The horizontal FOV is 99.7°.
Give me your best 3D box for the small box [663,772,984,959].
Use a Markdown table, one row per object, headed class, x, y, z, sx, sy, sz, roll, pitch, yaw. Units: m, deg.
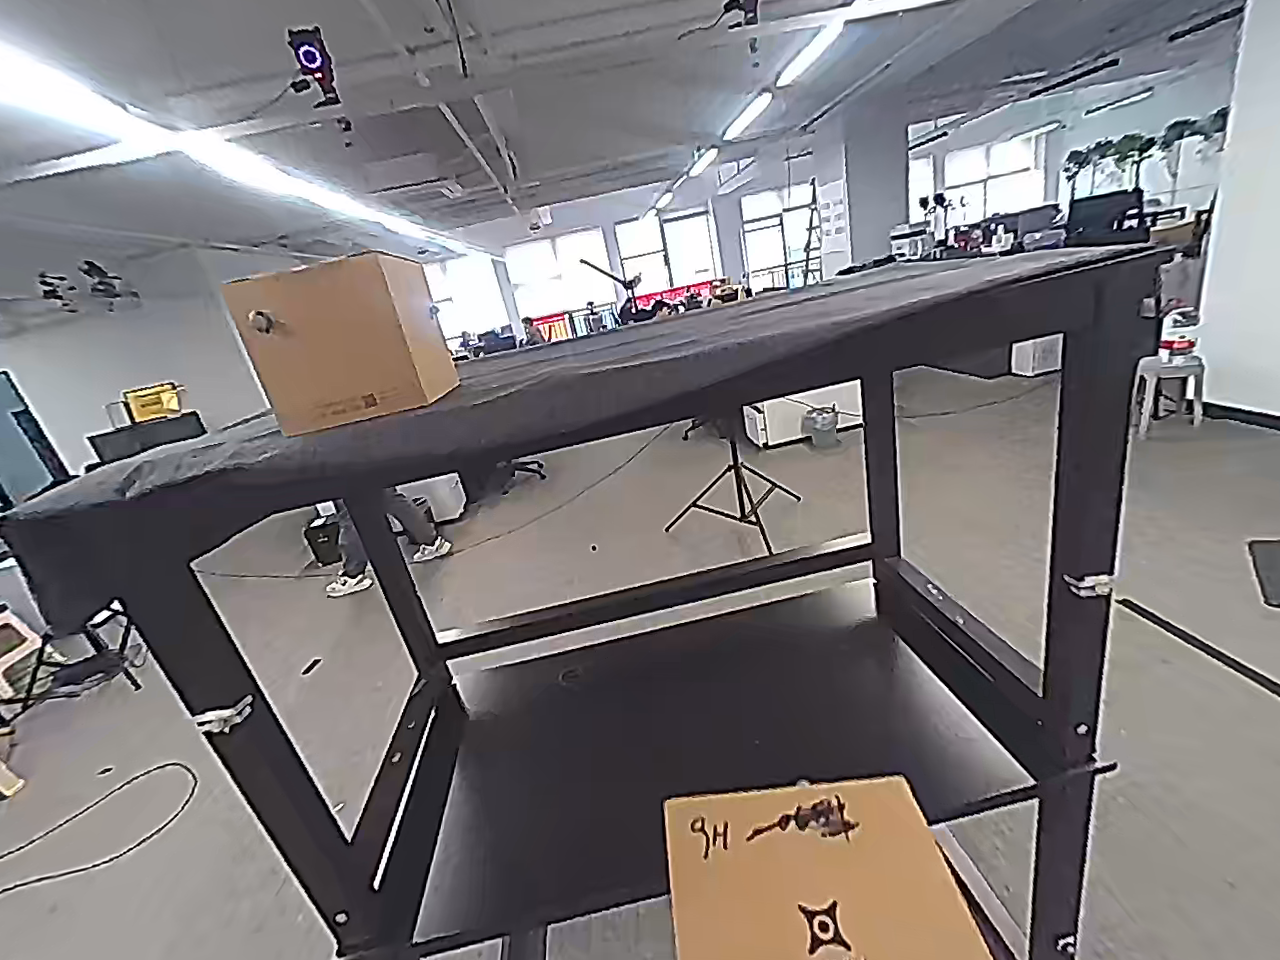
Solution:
| class | x | y | z | sx | sy | sz | roll | pitch | yaw |
| --- | --- | --- | --- | --- | --- | --- | --- | --- | --- |
| small box | 0.107 | 0.320 | 0.340 | 0.168 | 0.176 | 0.179 | -5 | 32 | 0 |
